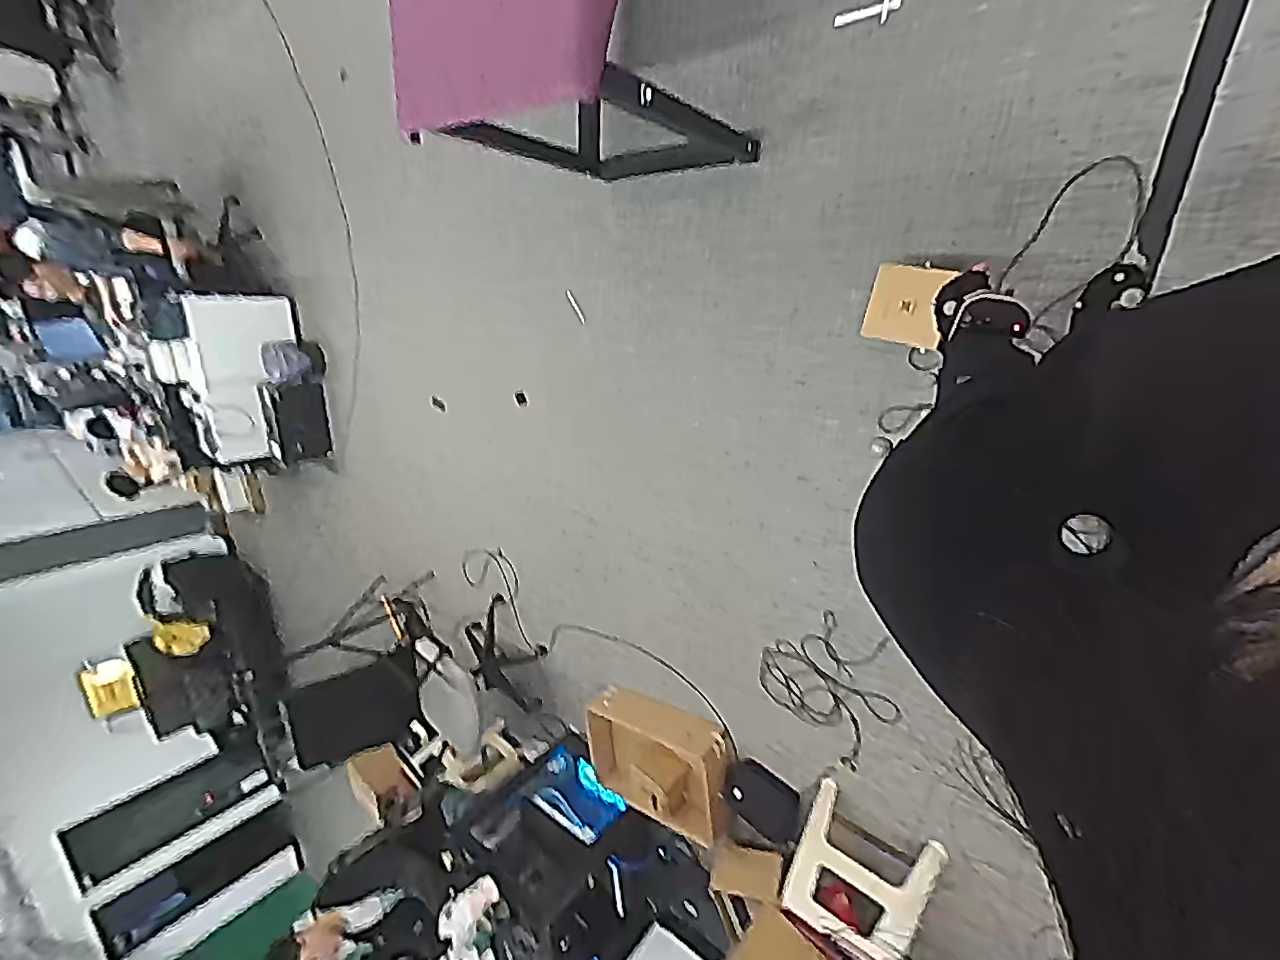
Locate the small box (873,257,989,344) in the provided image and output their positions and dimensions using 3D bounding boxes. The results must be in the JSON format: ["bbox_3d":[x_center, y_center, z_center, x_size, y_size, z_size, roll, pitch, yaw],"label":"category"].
[{"bbox_3d":[0.679,-0.416,1.257,0.179,0.176,0.168,25,117,37],"label":"small box"}]
